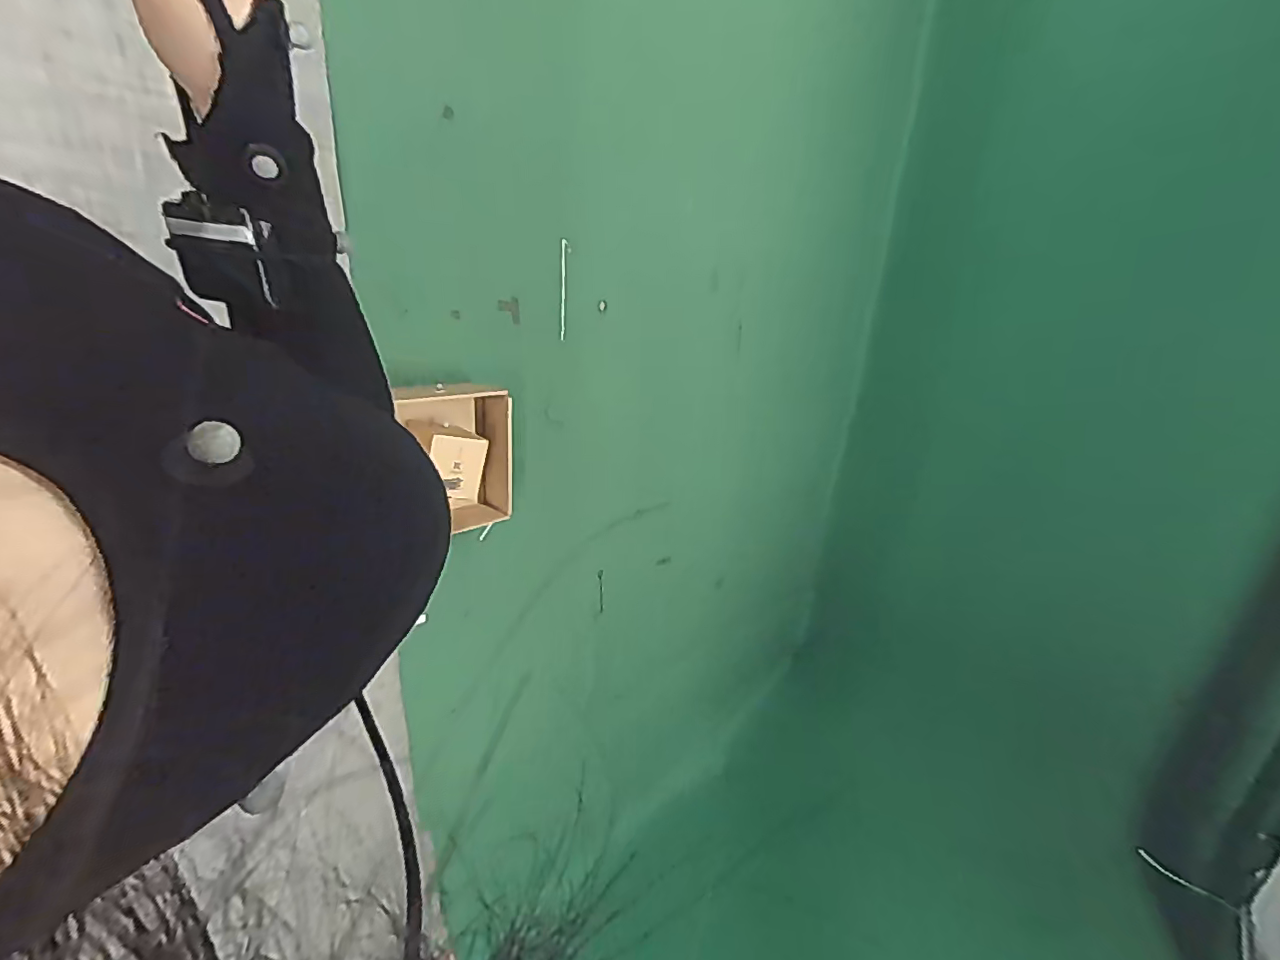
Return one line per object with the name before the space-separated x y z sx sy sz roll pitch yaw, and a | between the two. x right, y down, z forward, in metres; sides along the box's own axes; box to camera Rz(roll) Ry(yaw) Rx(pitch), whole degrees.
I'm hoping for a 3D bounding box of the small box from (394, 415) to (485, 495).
small box | -0.561 -0.068 1.502 0.168 0.176 0.179 5 104 -48
